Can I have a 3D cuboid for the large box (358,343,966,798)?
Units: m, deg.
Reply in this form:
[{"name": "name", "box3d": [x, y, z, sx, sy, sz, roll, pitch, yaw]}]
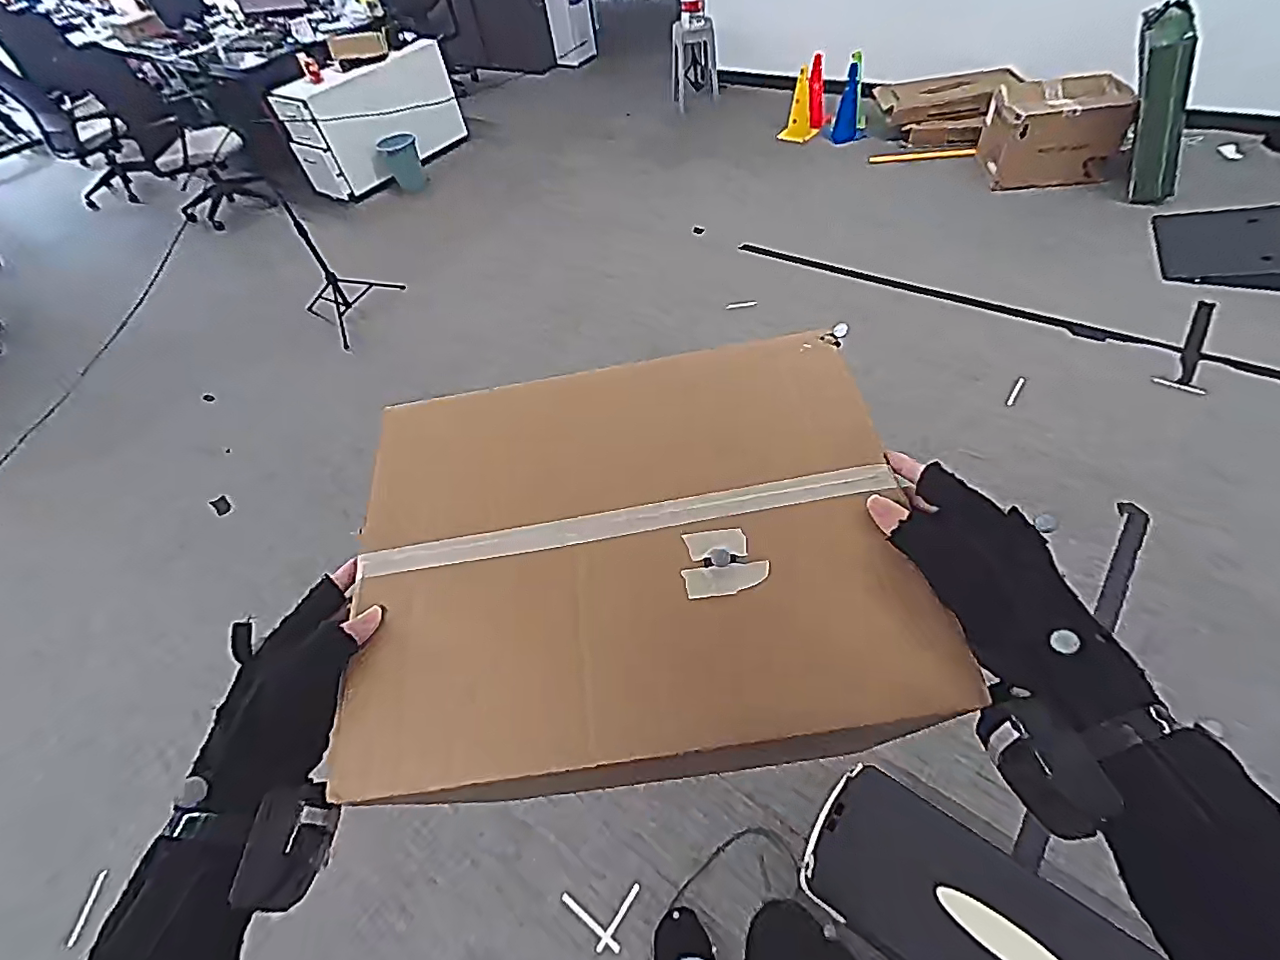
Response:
[{"name": "large box", "box3d": [0.008, 0.113, 0.546, 0.408, 0.320, 0.320, -10, 59, 2]}]
